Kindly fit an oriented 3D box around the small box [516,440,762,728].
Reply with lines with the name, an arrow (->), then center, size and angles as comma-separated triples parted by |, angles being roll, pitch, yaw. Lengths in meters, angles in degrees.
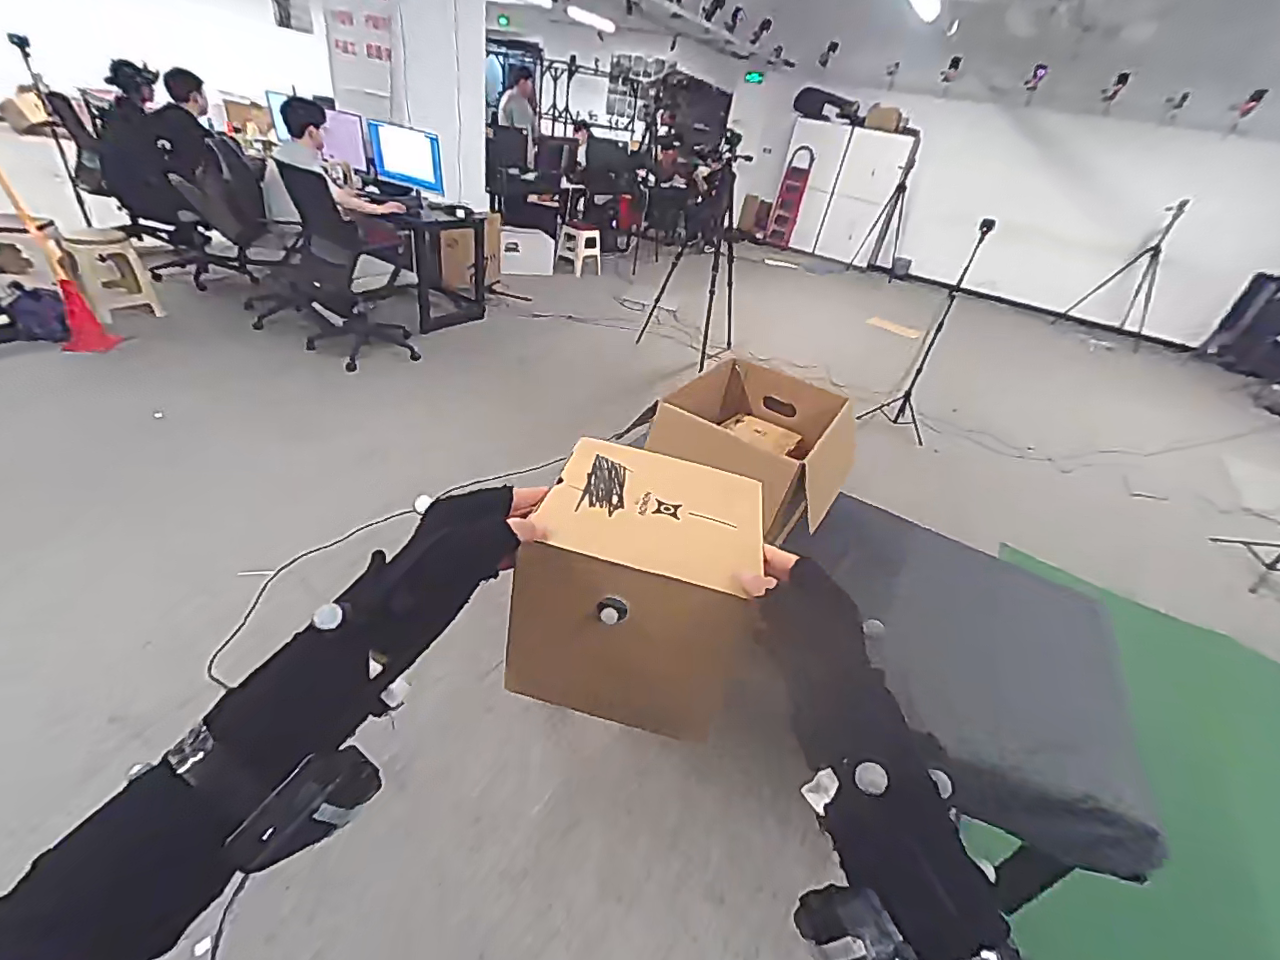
small box -> 0.000, 0.089, 0.484 | 0.179, 0.176, 0.168 | 15, 31, 3
